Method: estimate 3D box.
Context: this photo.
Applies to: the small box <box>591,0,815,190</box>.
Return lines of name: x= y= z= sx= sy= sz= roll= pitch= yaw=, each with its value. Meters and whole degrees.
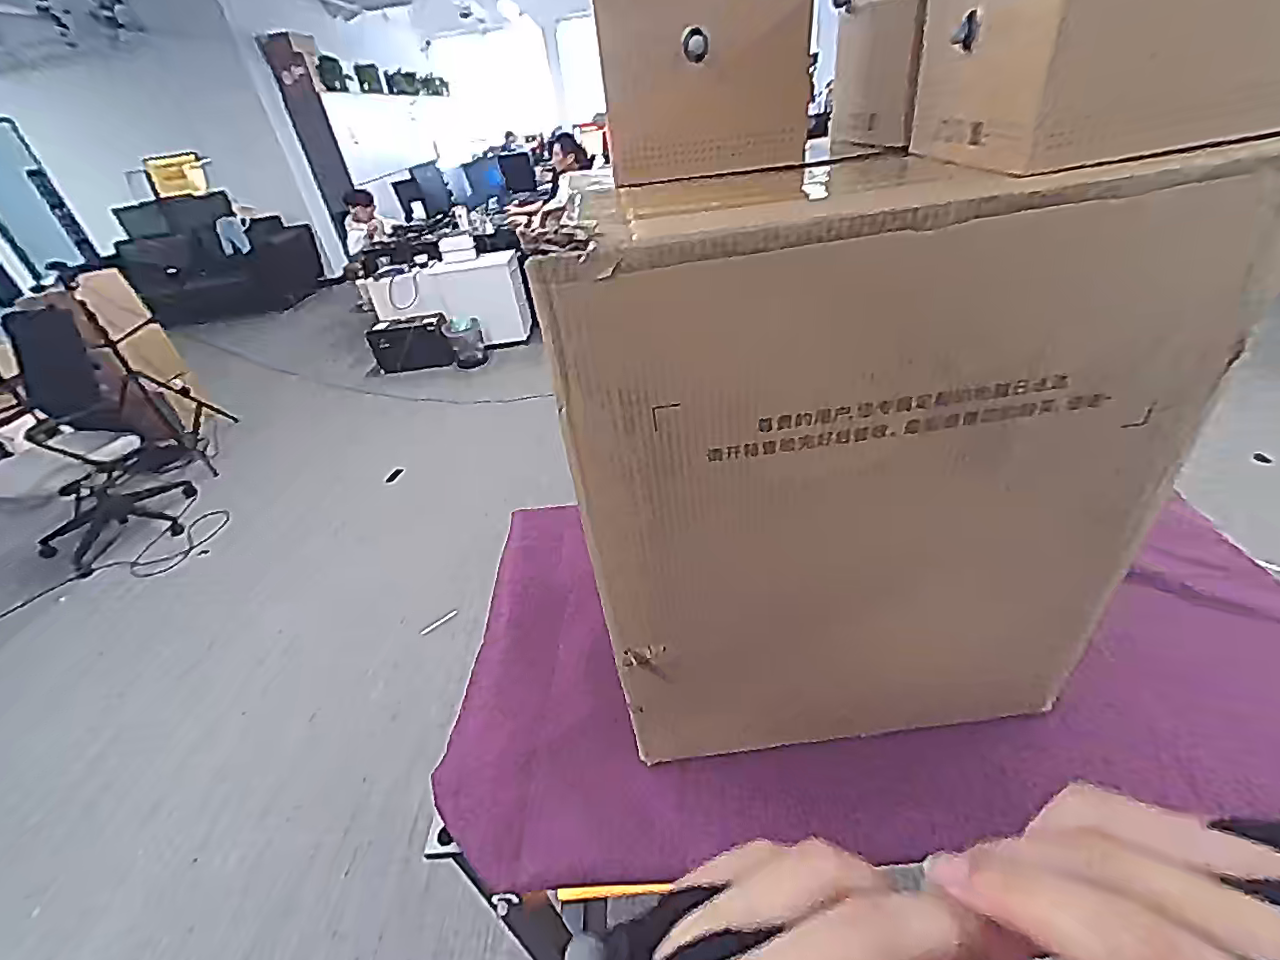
small box: x=0.057 y=-0.382 z=0.500 sx=0.179 sy=0.176 sz=0.168 roll=-6 pitch=34 yaw=6
